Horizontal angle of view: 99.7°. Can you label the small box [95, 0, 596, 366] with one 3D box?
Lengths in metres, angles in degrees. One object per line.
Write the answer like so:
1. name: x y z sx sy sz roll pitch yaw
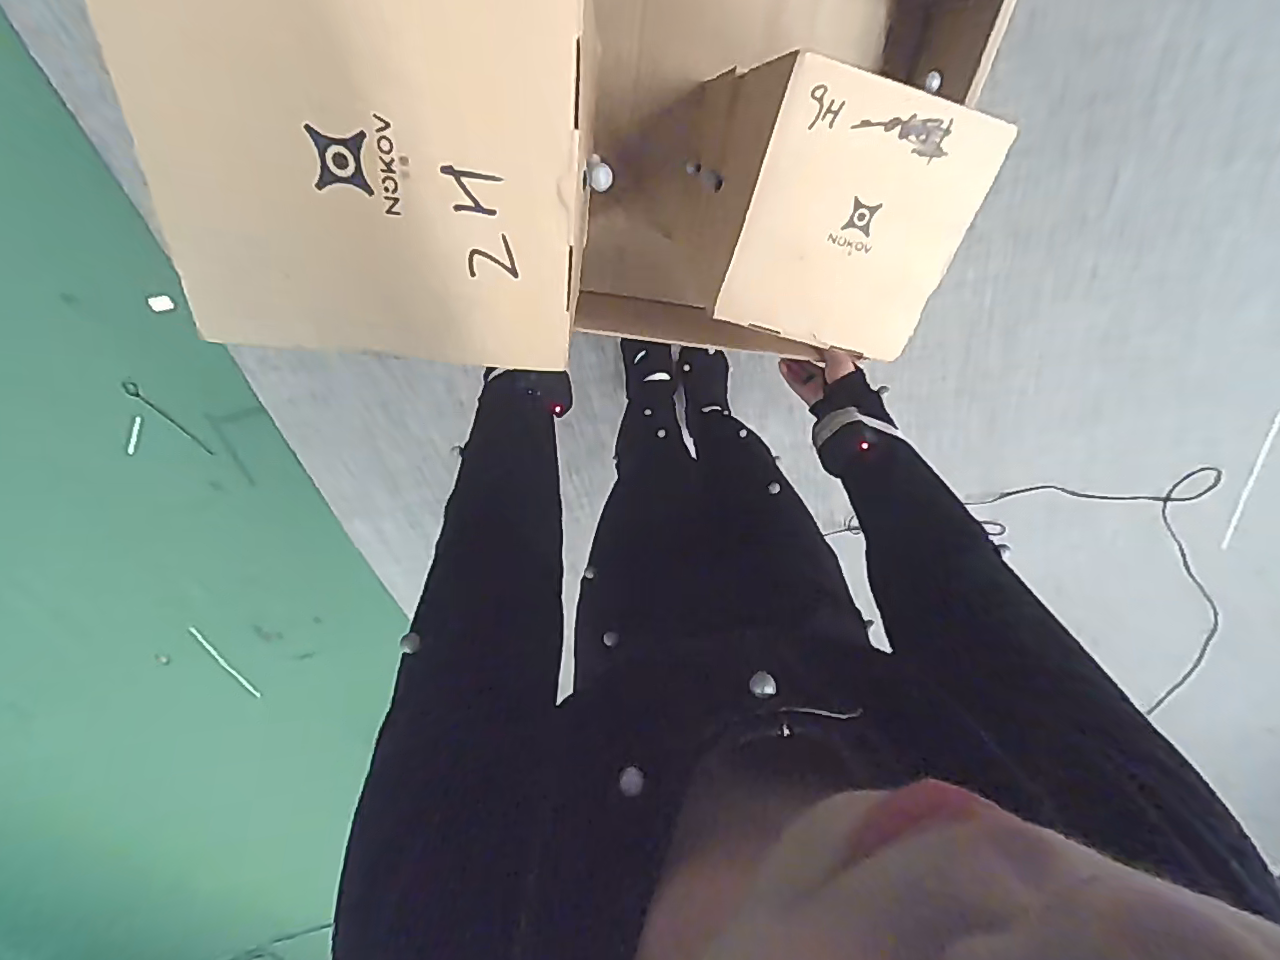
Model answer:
1. small box: -0.118 -0.176 0.290 0.179 0.176 0.168 4 124 -7
